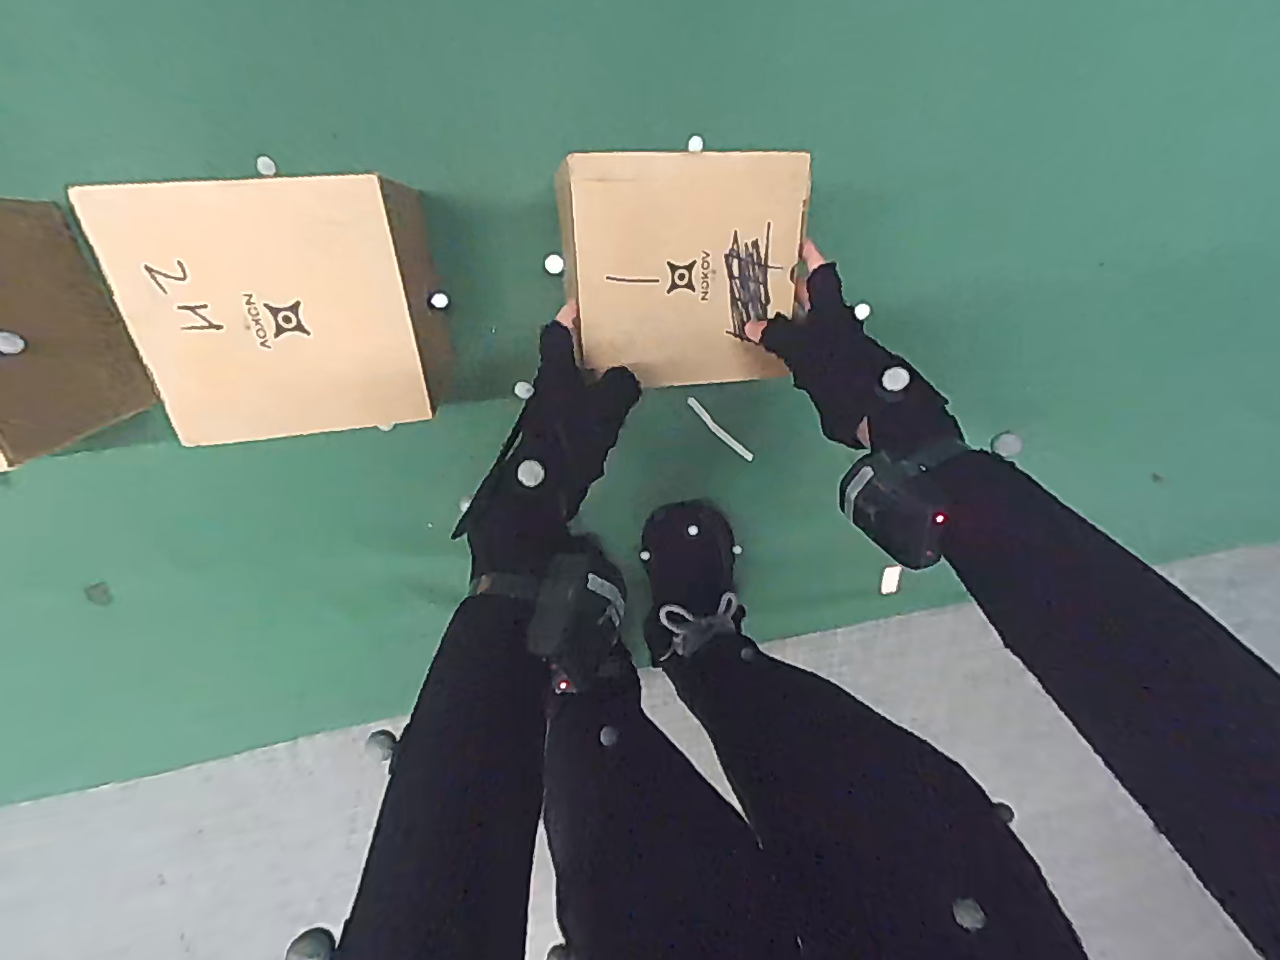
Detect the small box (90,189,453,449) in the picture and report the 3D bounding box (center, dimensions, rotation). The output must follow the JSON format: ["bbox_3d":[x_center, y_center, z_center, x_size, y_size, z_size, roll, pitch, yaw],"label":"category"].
[{"bbox_3d":[-0.256,-0.140,0.439,0.179,0.176,0.168,-8,116,-10],"label":"small box"}]

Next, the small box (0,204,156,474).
[{"bbox_3d":[-0.526,-0.105,0.398,0.168,0.176,0.179,-9,117,-8],"label":"small box"}]

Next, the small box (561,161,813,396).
[{"bbox_3d":[0.027,-0.180,0.481,0.179,0.176,0.168,-5,115,-9],"label":"small box"}]
